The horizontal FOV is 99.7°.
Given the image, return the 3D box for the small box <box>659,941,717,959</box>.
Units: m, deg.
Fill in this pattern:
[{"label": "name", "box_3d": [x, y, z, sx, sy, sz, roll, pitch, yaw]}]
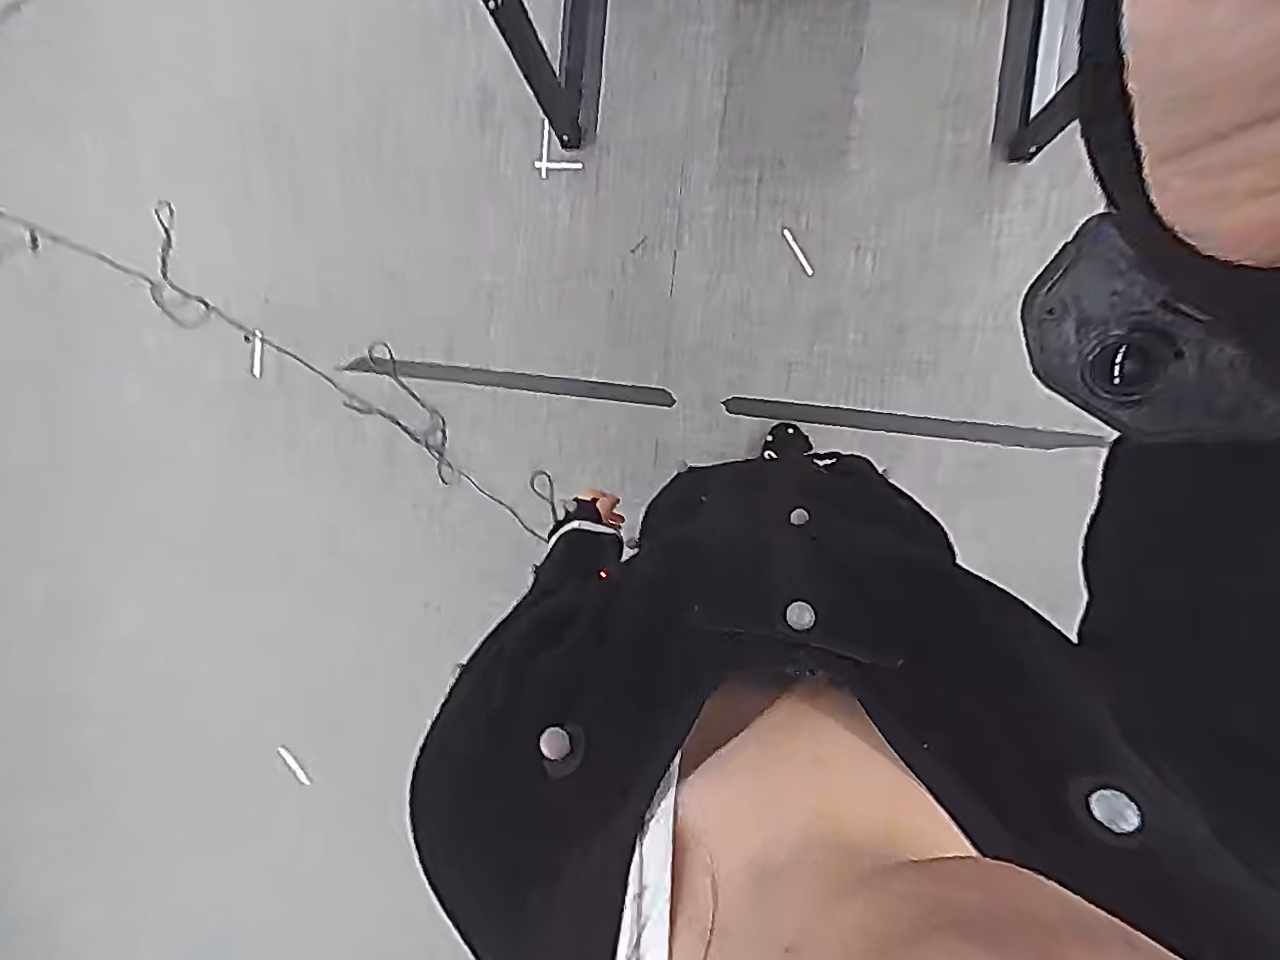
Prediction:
[{"label": "small box", "box_3d": [0.135, 1.444, 1.503, 0.168, 0.176, 0.179, -2, 93, 7]}]
